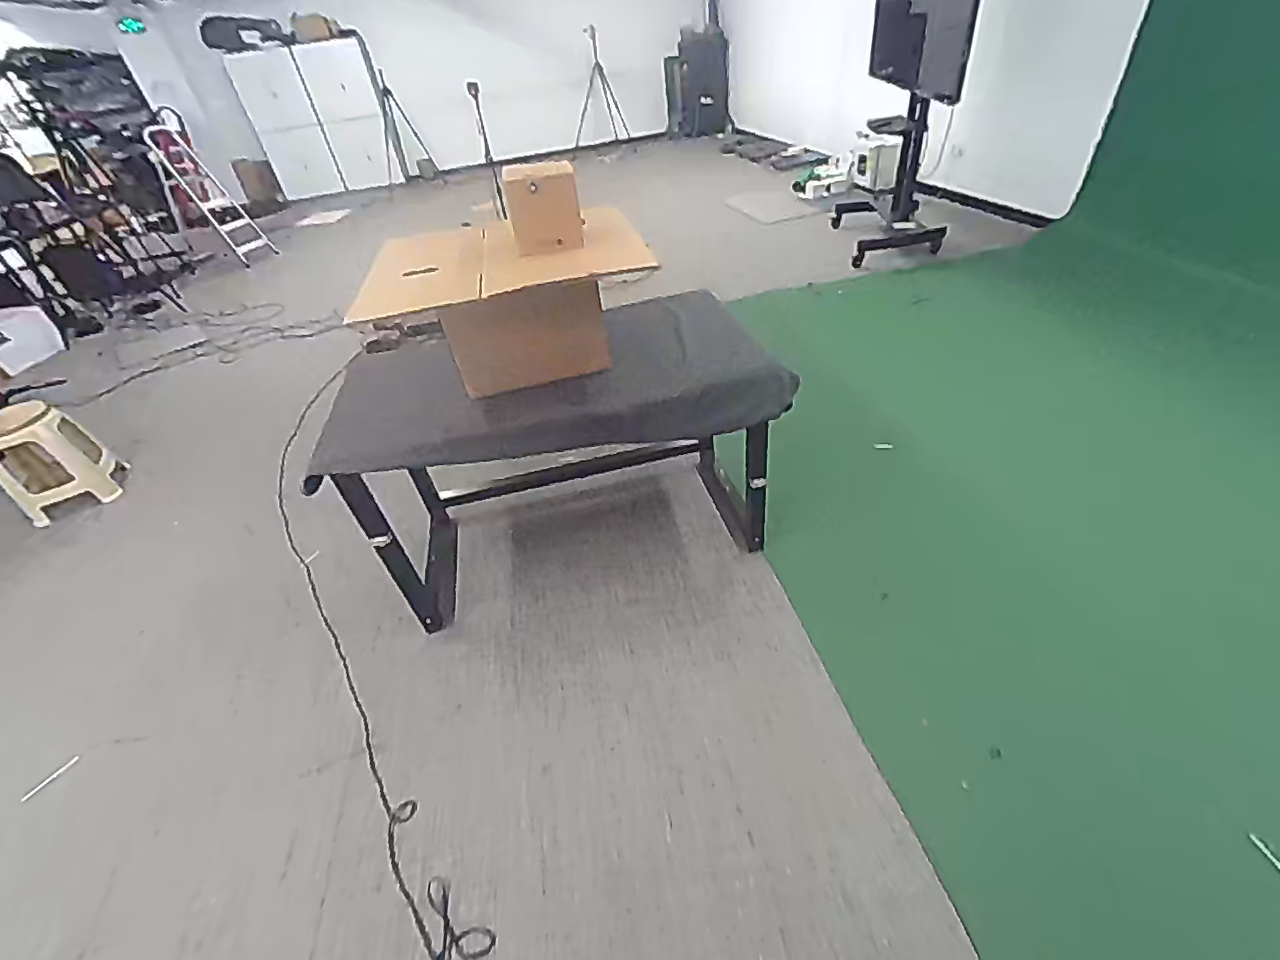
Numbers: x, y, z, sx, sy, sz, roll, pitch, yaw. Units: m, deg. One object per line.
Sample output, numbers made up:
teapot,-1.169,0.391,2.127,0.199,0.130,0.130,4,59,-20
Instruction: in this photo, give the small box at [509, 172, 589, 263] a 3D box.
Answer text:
small box,-0.226,-0.657,1.352,0.168,0.176,0.179,-11,38,-5
